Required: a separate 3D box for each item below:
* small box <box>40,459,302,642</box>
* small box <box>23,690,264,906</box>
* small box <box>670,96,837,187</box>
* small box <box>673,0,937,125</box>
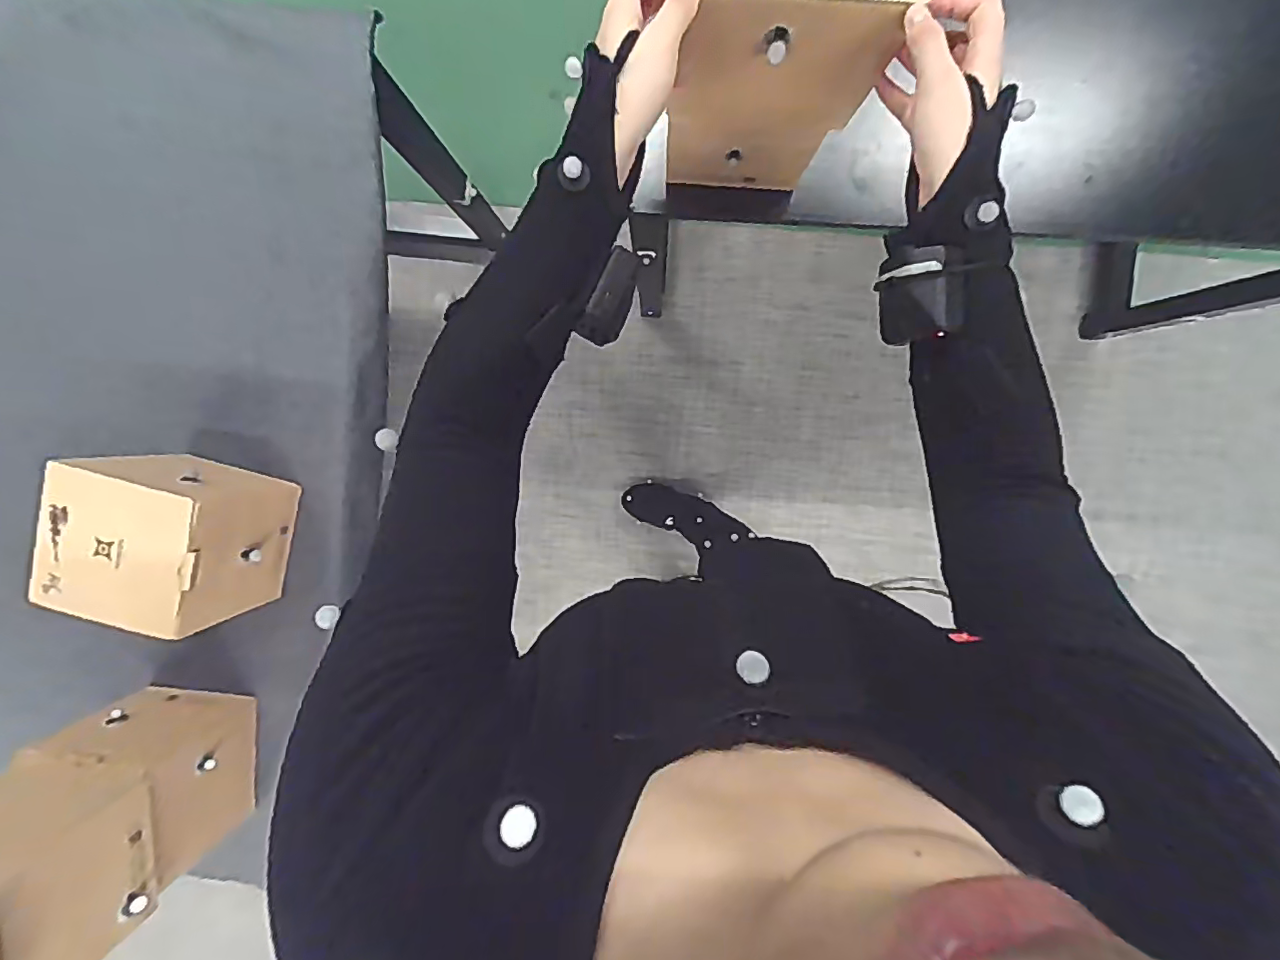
[{"bbox_3d":[-0.561,0.073,0.670,0.179,0.176,0.168,14,96,1],"label":"small box"},{"bbox_3d":[-0.628,0.397,0.705,0.168,0.176,0.179,4,96,4],"label":"small box"},{"bbox_3d":[0.122,-0.448,0.594,0.168,0.176,0.179,4,95,1],"label":"small box"},{"bbox_3d":[0.122,-0.415,0.434,0.179,0.176,0.168,4,97,2],"label":"small box"}]
